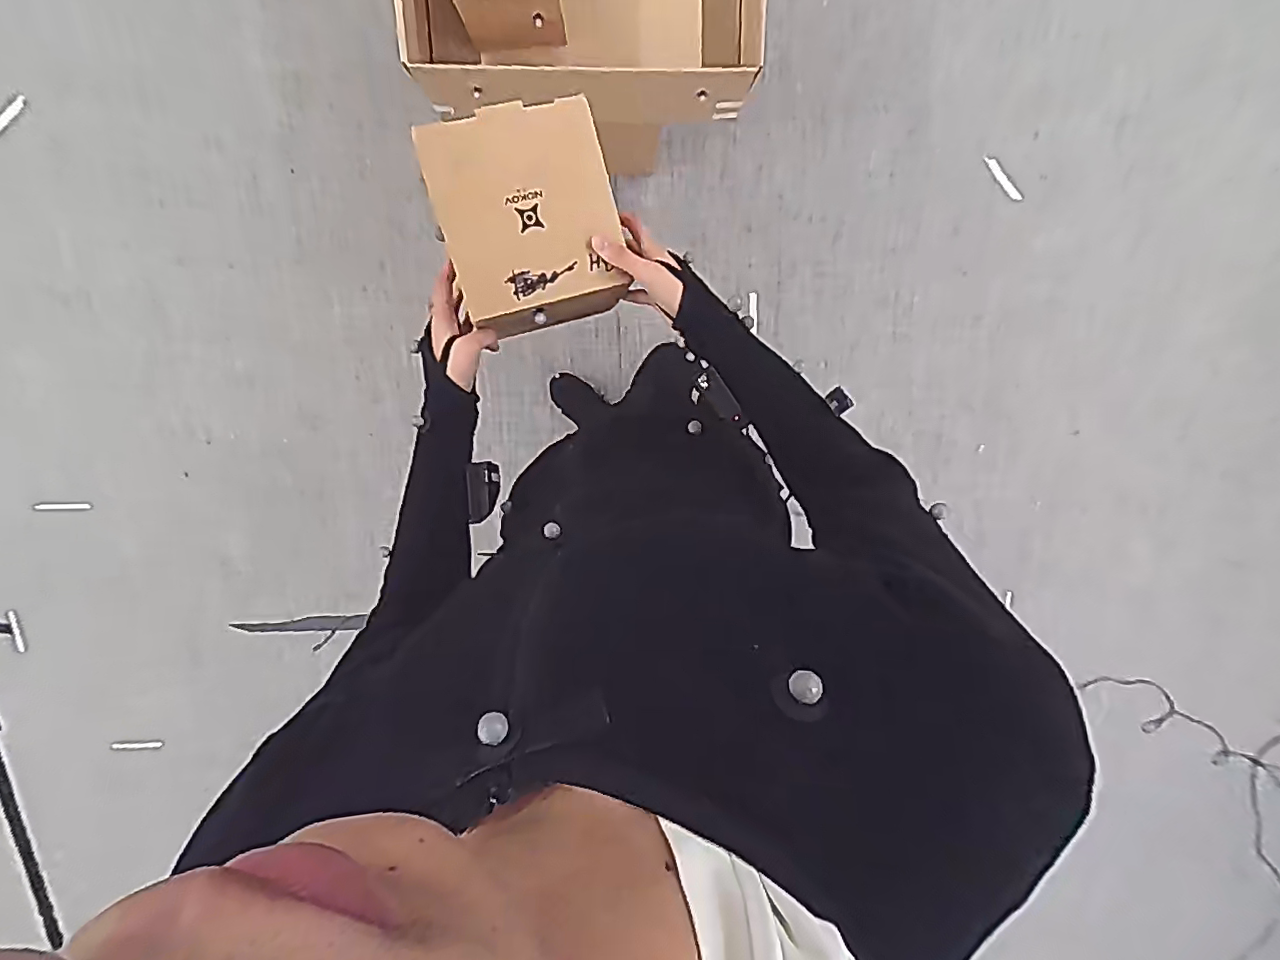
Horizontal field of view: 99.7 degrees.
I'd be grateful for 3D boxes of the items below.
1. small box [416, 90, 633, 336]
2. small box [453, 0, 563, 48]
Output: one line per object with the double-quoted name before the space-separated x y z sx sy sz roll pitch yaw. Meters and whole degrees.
"small box" -0.119 -0.270 0.584 0.168 0.176 0.179 -16 100 -7
"small box" -0.228 -0.878 0.920 0.179 0.176 0.168 -6 102 -1
